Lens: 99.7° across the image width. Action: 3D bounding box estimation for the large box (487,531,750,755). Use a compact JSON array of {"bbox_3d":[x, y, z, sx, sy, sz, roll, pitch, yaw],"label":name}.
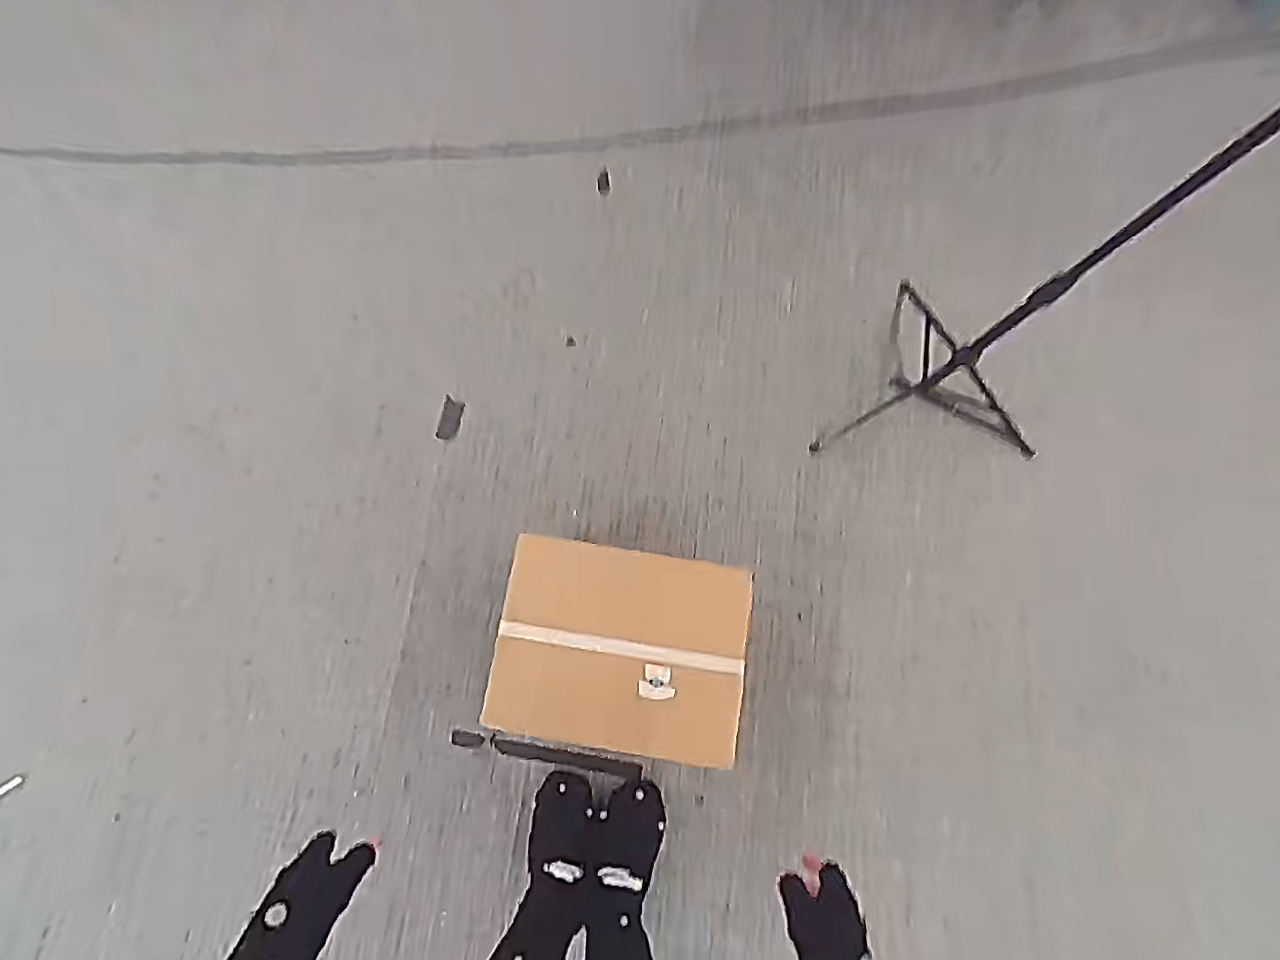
[{"bbox_3d":[-0.032,0.294,1.033,0.408,0.320,0.320,9,78,1],"label":"large box"}]
